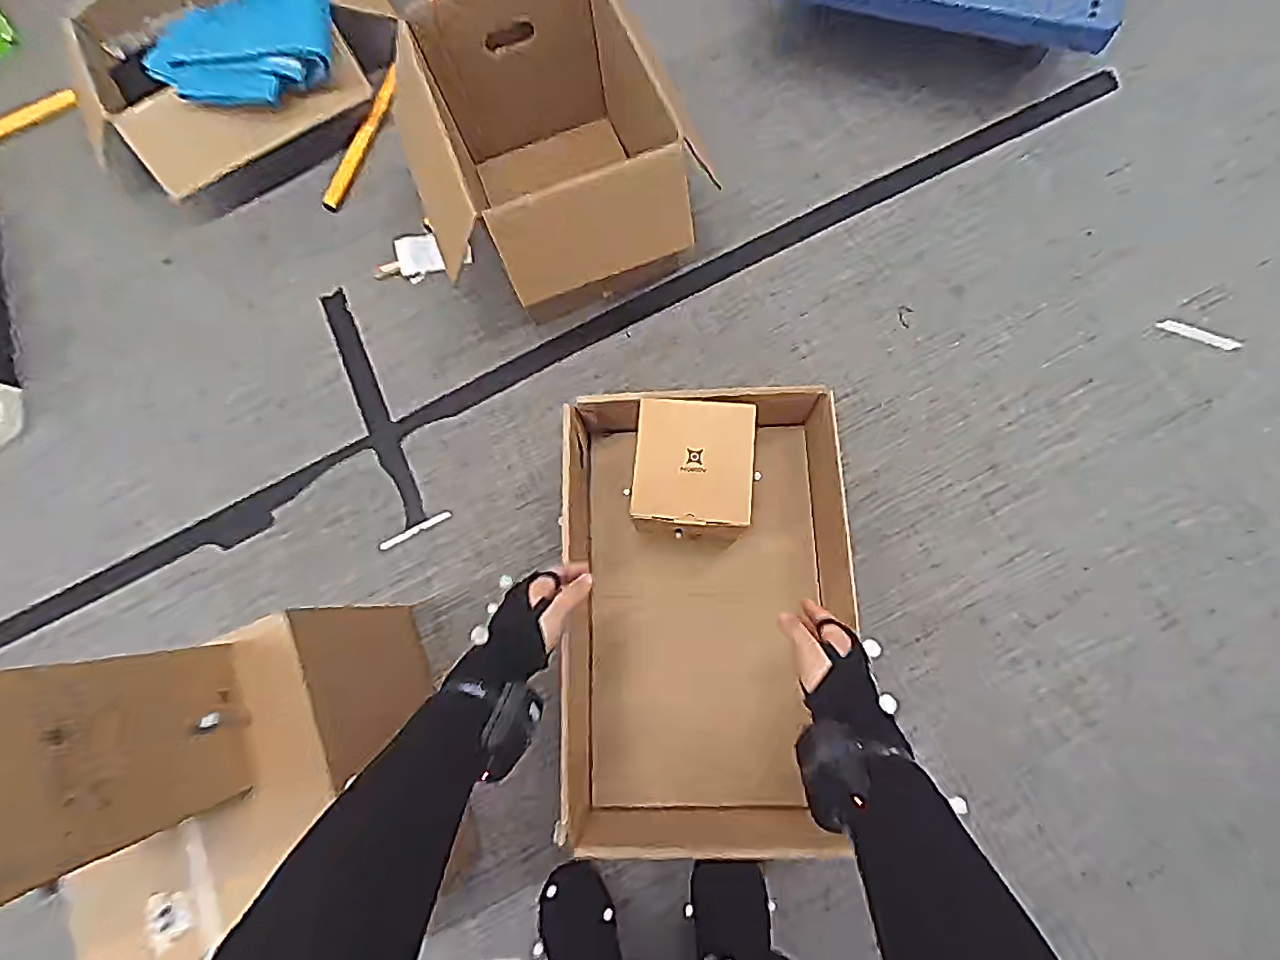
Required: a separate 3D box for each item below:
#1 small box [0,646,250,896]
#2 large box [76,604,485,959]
[{"bbox_3d":[-0.536,0.276,0.527,0.179,0.176,0.168,-22,79,-1],"label":"small box"},{"bbox_3d":[-0.468,0.420,0.743,0.320,0.320,0.408,-25,78,0],"label":"large box"}]
